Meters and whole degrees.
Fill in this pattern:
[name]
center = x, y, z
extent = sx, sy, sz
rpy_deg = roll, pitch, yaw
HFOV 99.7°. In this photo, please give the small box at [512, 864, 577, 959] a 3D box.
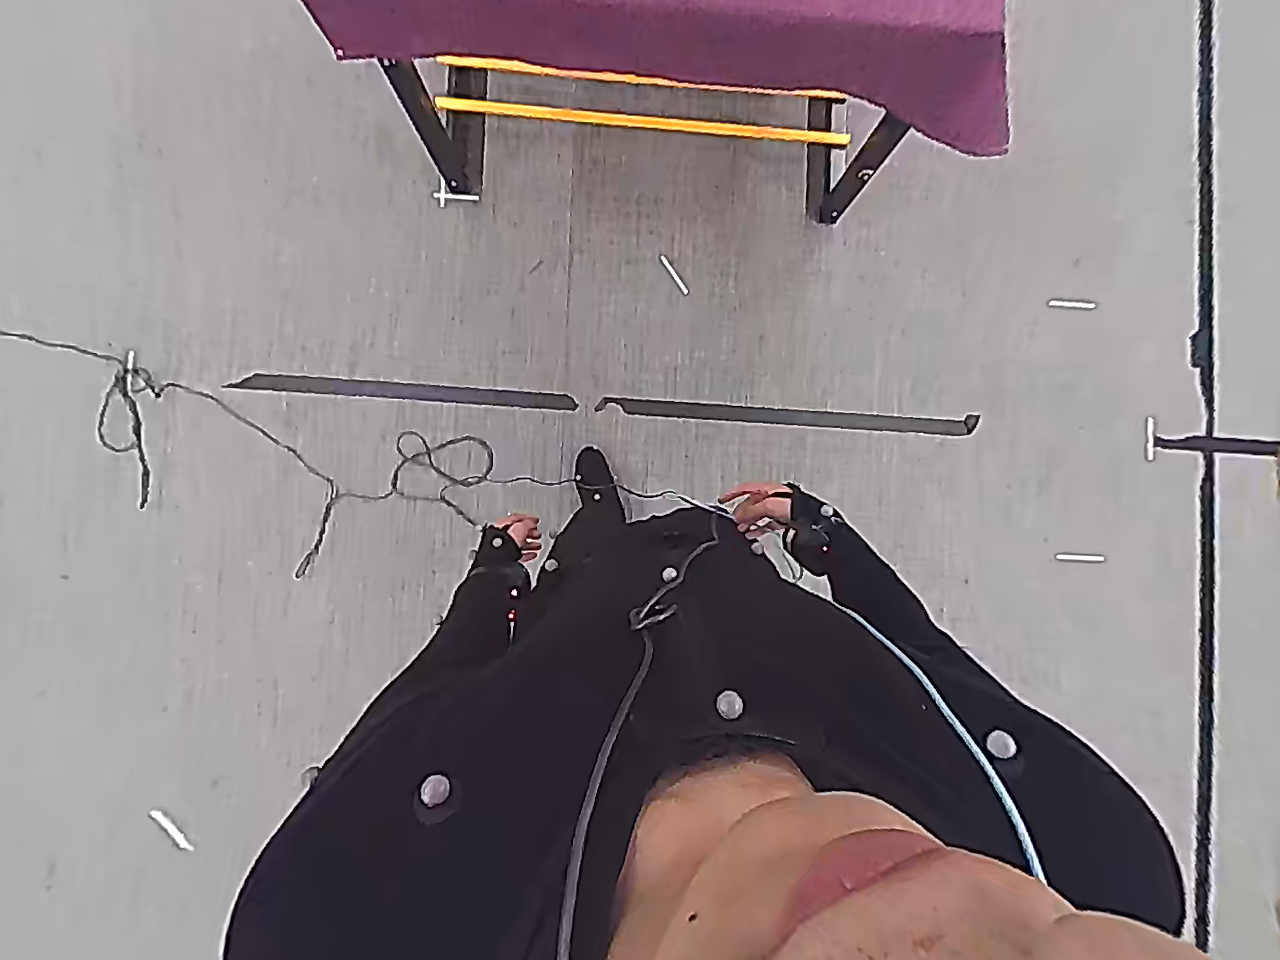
[small box]
center = -0.266, 1.221, 1.525
extent = 0.168, 0.176, 0.179
rpy_deg = -1, 90, -3
